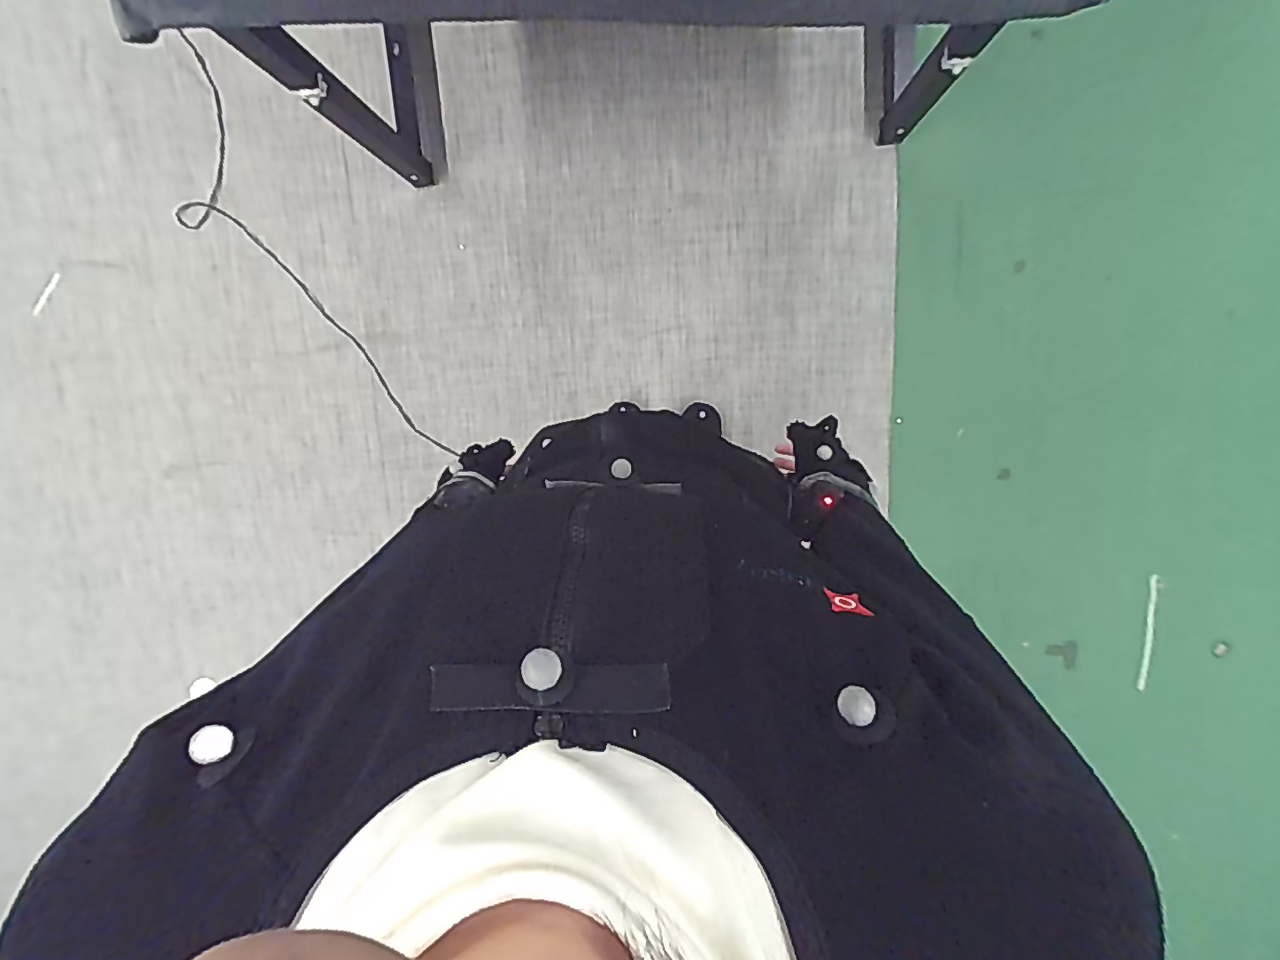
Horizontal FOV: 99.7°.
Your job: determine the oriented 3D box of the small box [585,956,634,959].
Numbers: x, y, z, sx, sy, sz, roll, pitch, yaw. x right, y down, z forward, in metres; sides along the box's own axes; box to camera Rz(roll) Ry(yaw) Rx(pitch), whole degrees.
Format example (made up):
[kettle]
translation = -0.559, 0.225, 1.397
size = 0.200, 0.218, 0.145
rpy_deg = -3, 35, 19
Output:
[small box]
translation = -0.104, 1.577, 1.620
size = 0.179, 0.176, 0.168
rpy_deg = -4, 101, 4
